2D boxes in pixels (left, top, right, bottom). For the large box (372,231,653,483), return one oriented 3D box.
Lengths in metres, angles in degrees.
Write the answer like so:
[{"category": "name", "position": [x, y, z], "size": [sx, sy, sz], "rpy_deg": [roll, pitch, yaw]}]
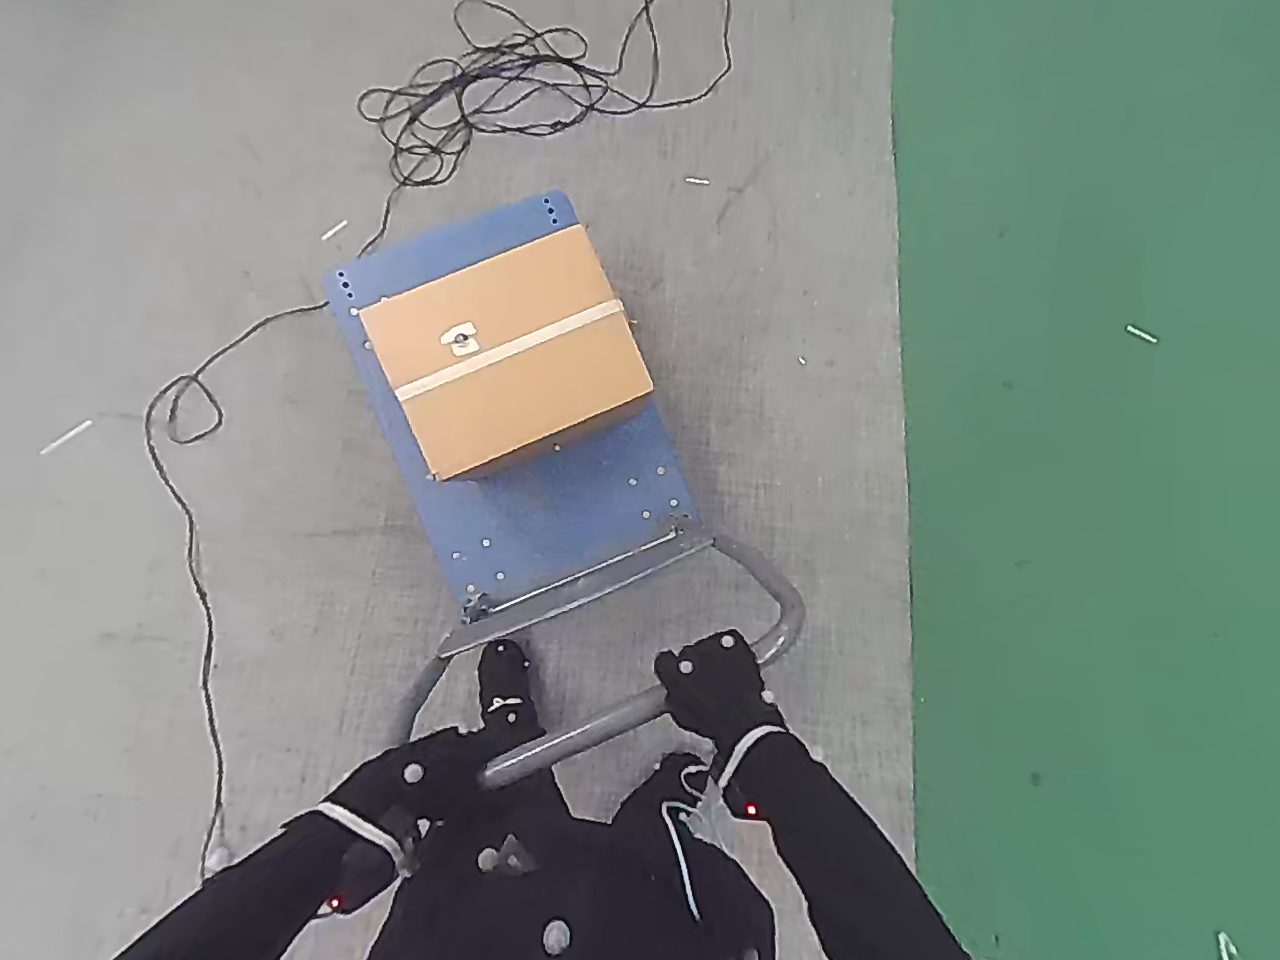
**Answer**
[{"category": "large box", "position": [-0.225, -0.217, 1.082], "size": [0.408, 0.320, 0.320], "rpy_deg": [-24, 91, -3]}]
